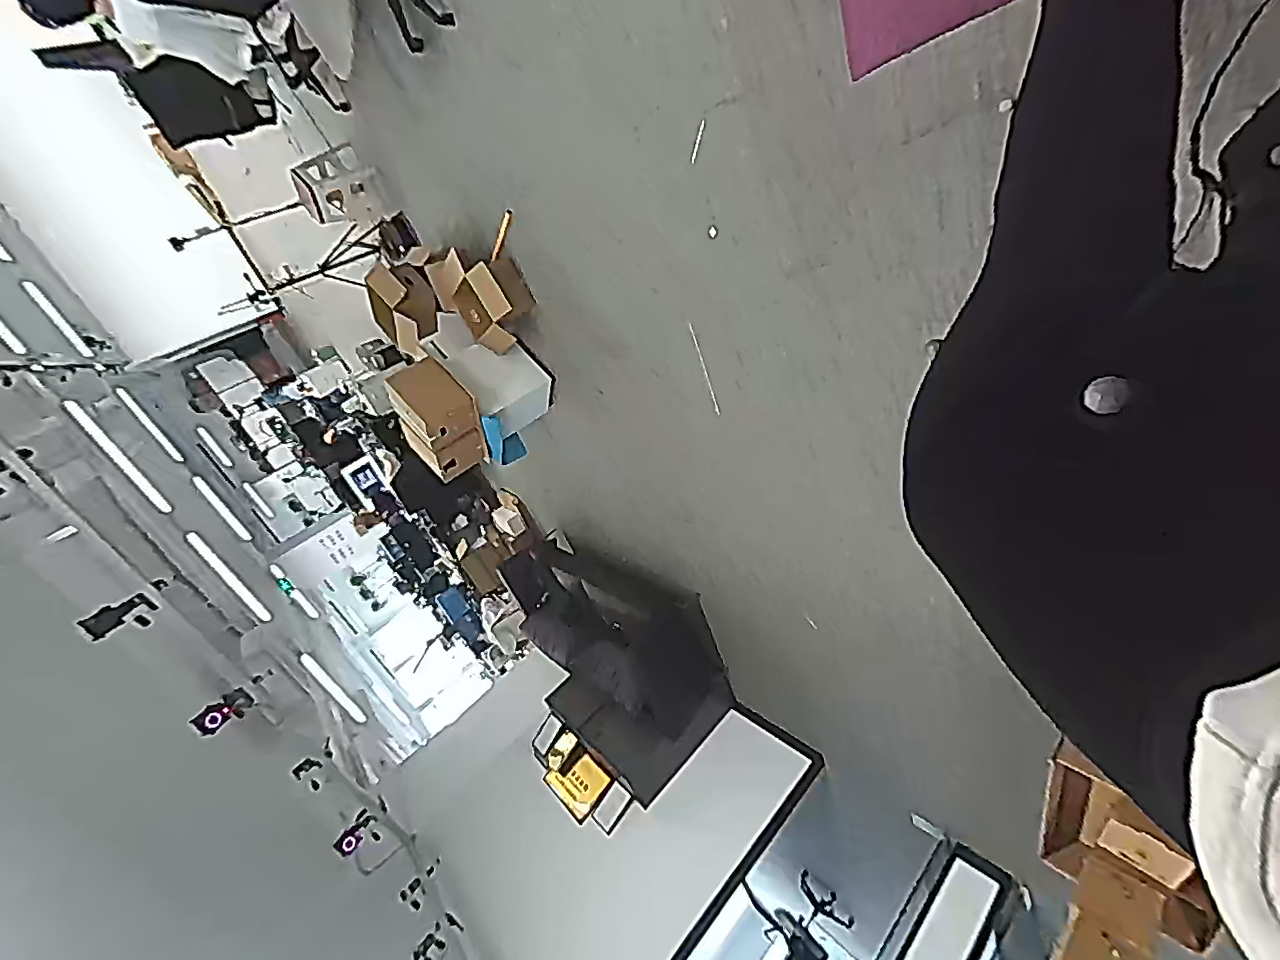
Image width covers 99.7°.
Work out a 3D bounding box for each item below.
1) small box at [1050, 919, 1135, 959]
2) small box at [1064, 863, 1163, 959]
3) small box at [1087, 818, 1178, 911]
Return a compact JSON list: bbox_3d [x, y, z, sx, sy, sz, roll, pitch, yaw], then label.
[{"bbox_3d":[1.177,1.300,1.400,0.168,0.176,0.179,26,140,42],"label":"small box"},{"bbox_3d":[1.291,1.212,1.478,0.168,0.176,0.179,17,134,49],"label":"small box"},{"bbox_3d":[1.409,1.130,1.555,0.168,0.176,0.179,17,135,48],"label":"small box"}]
